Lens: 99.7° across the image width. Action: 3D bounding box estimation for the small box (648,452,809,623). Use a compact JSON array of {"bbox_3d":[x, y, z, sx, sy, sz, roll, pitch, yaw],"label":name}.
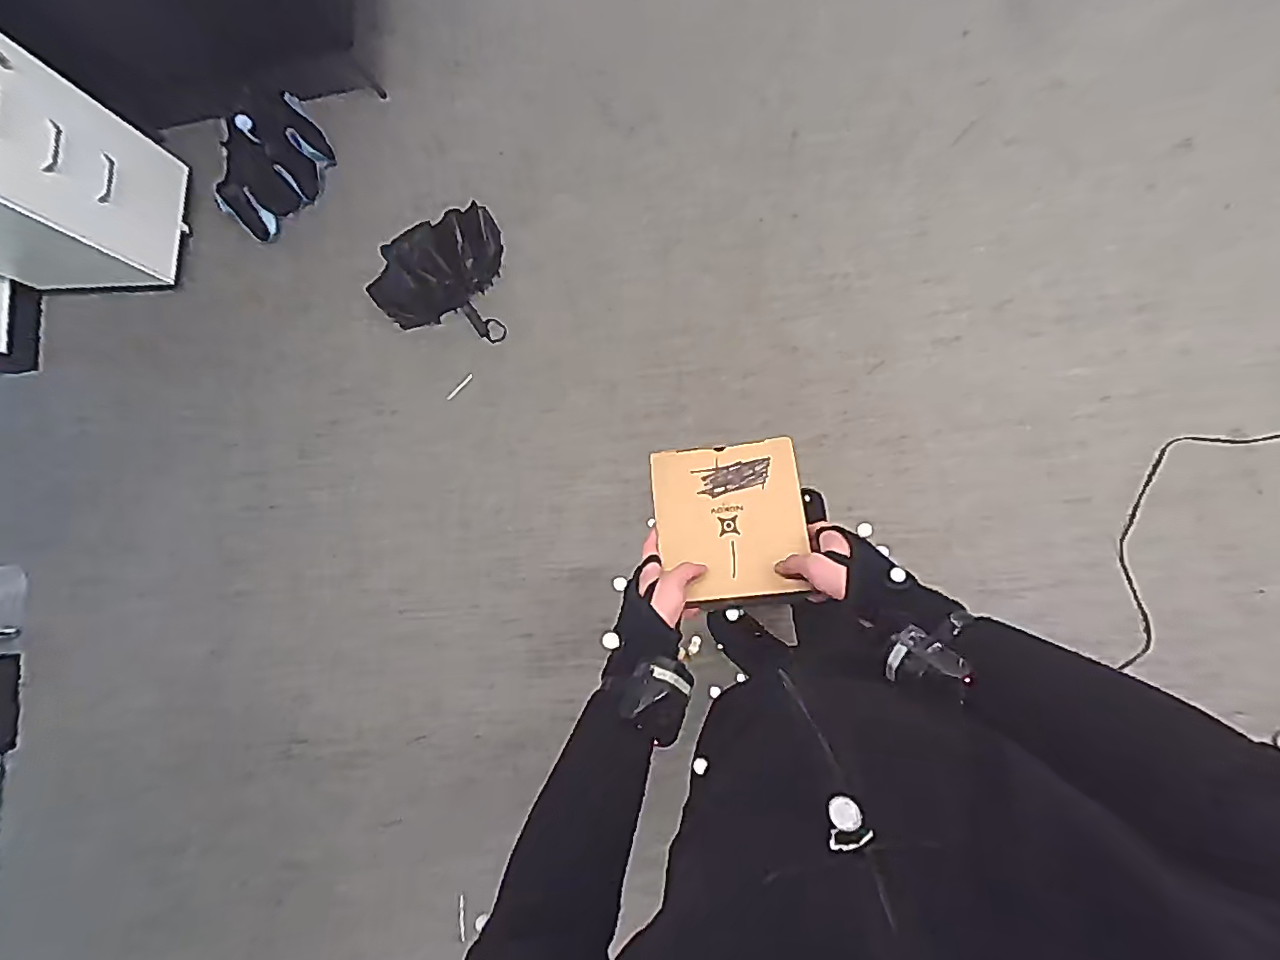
[{"bbox_3d":[0.107,0.082,0.688,0.168,0.176,0.179,-8,72,8],"label":"small box"}]
